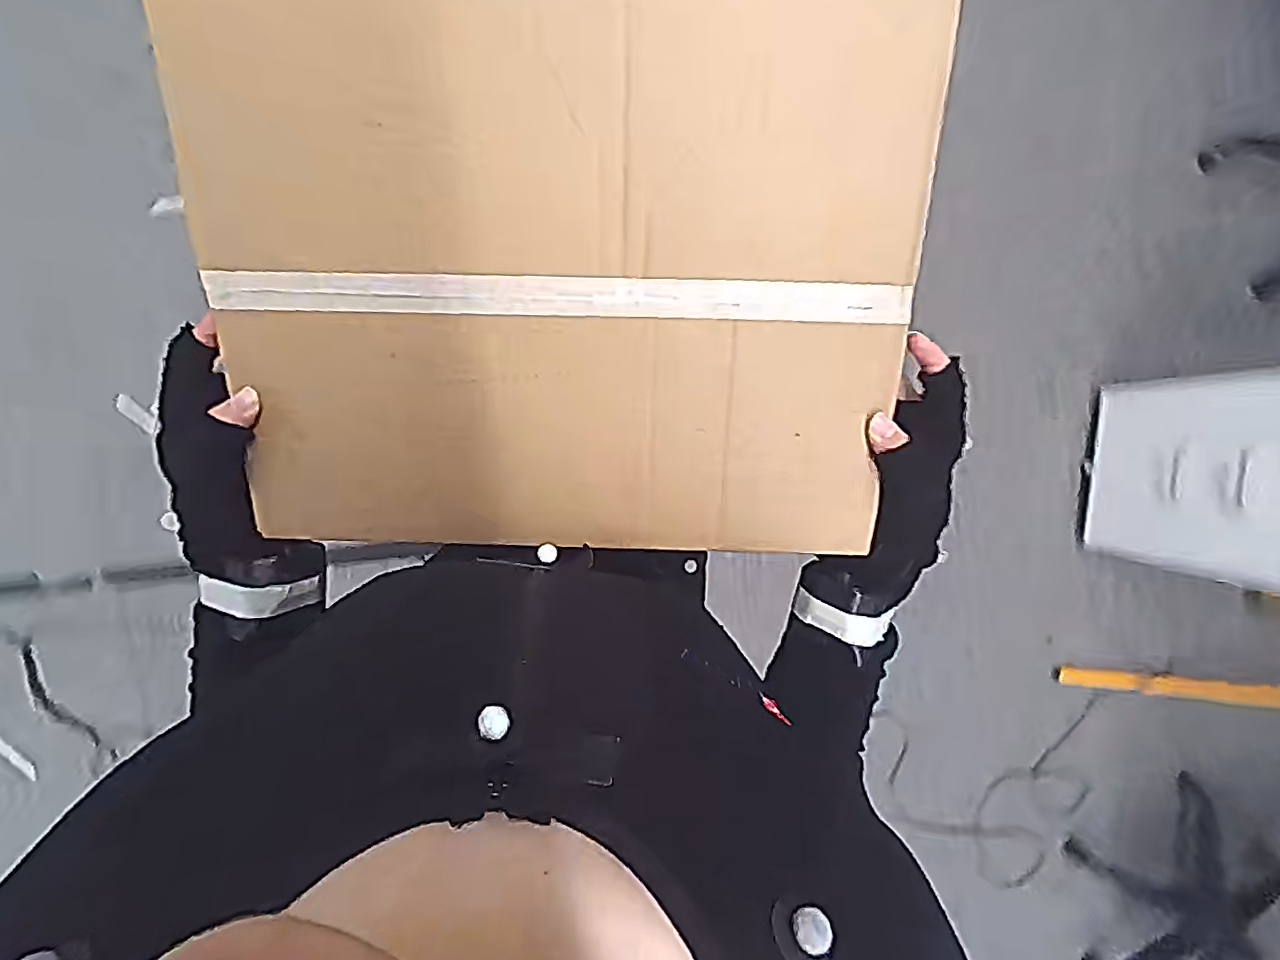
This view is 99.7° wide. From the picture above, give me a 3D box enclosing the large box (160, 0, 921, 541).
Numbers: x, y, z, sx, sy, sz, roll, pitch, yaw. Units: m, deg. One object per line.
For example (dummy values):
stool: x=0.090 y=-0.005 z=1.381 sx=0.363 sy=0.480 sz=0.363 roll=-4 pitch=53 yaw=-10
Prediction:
large box: x=-0.051 y=-0.152 z=0.464 sx=0.408 sy=0.320 sz=0.320 roll=0 pitch=109 yaw=0
